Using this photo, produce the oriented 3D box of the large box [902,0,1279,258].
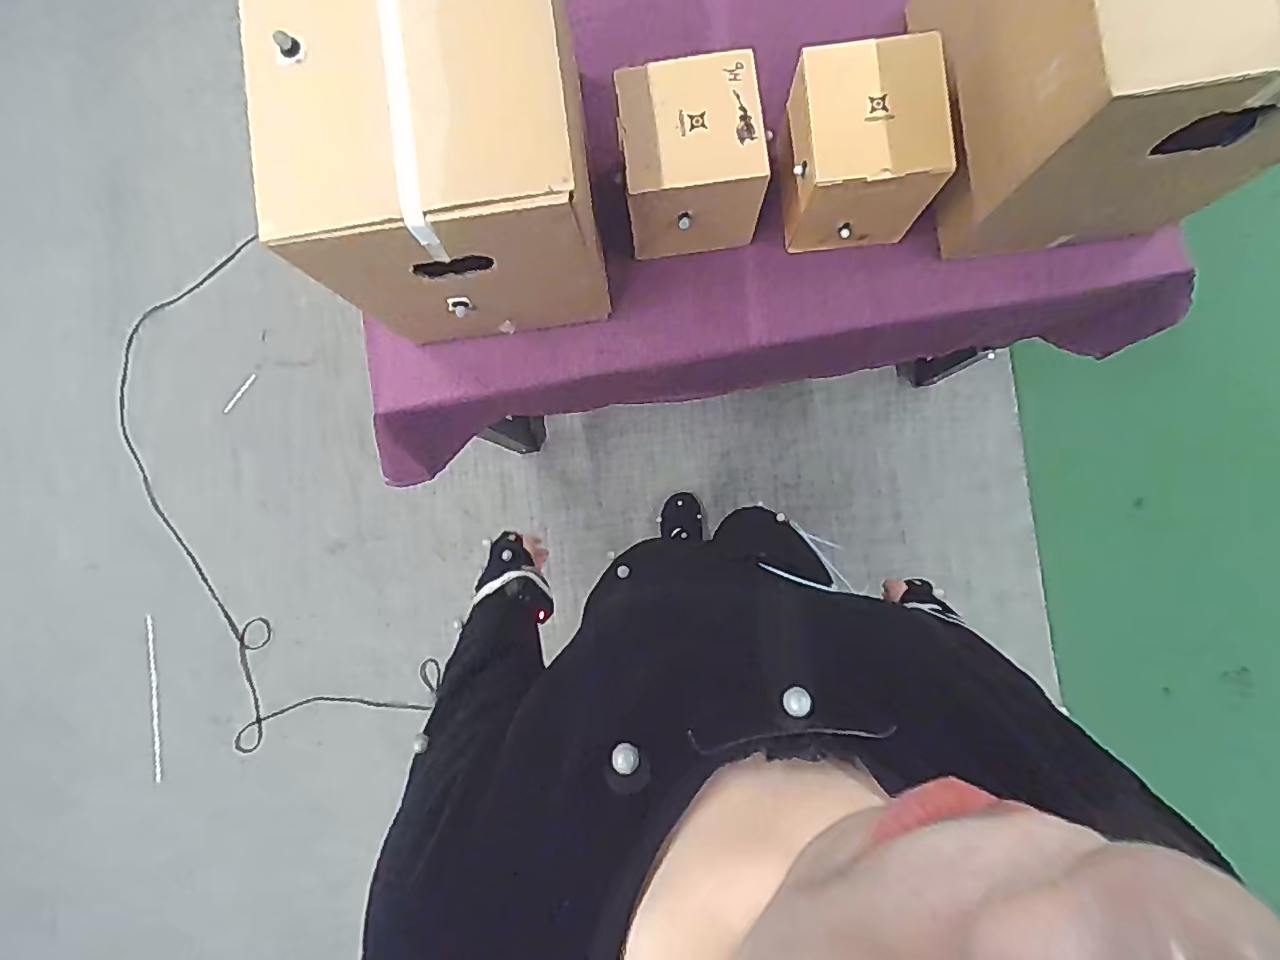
[{"bbox_3d":[0.563,-0.547,0.658,0.320,0.320,0.408,-7,86,2],"label":"large box"}]
